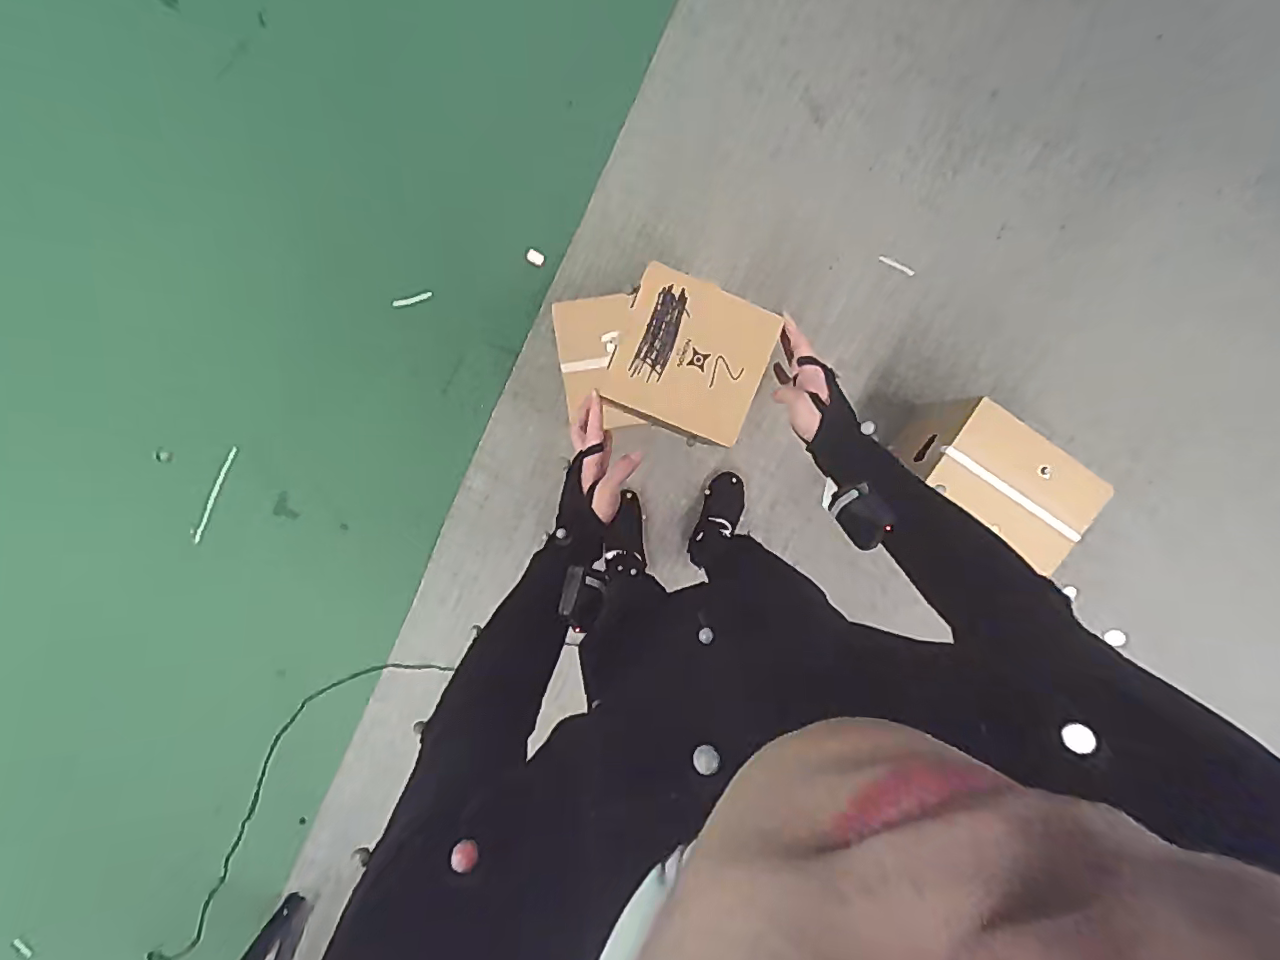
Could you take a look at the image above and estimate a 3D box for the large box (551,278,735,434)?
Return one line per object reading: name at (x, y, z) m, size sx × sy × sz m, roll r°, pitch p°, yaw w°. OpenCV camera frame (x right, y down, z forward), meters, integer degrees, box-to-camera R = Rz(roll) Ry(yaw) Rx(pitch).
large box at (0.011, -0.306, 1.428) m, size 0.408 × 0.320 × 0.320 m, roll -9°, pitch 94°, yaw 1°
